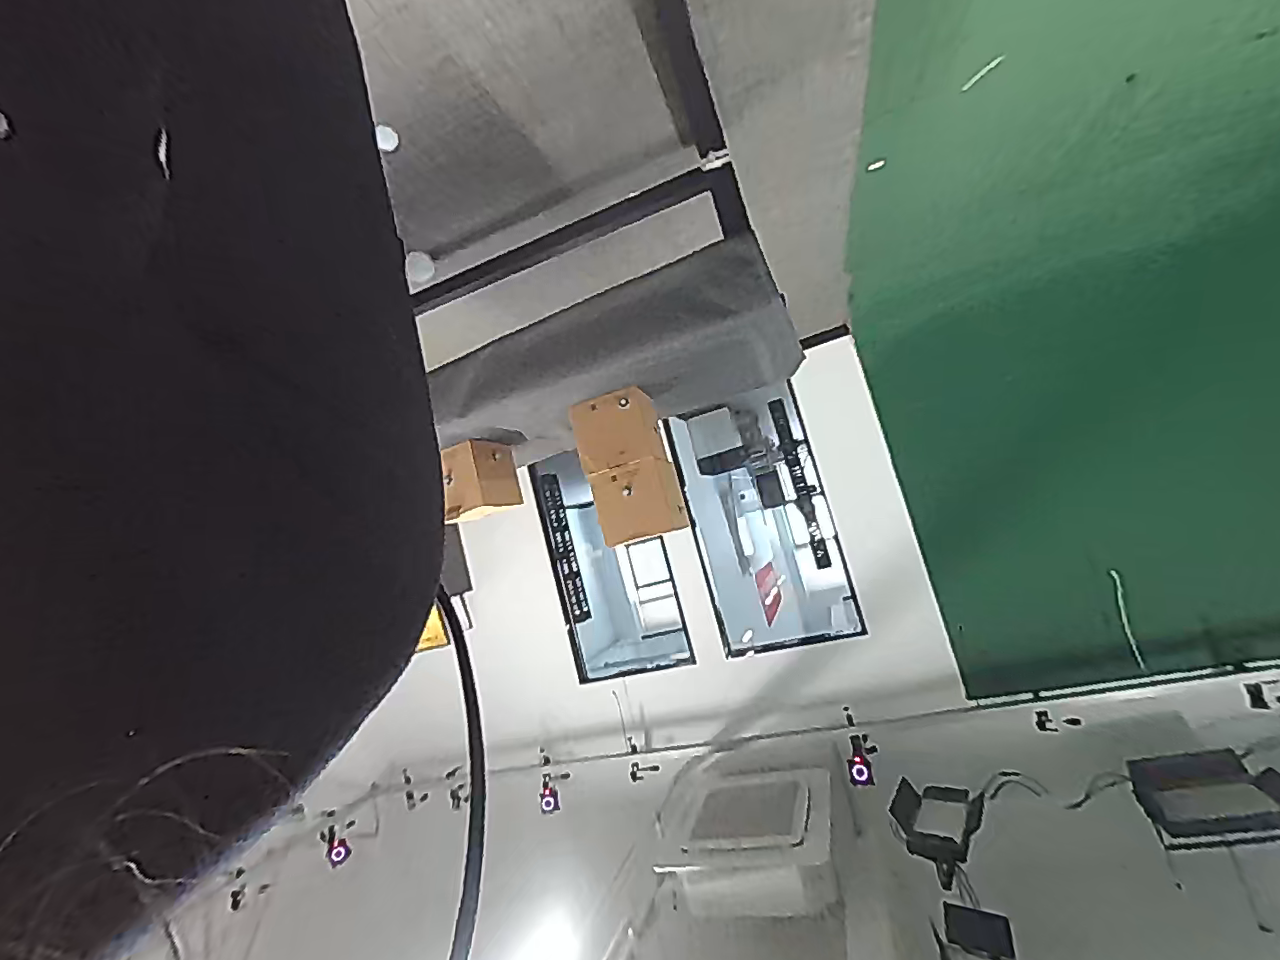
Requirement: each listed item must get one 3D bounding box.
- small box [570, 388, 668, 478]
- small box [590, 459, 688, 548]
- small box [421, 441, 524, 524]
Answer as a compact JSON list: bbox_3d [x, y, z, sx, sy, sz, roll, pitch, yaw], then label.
[{"bbox_3d":[-0.048,-0.106,1.274,0.168,0.176,0.179,-16,175,13],"label":"small box"},{"bbox_3d":[0.001,0.052,1.272,0.168,0.176,0.179,-17,174,15],"label":"small box"},{"bbox_3d":[-0.426,0.005,1.371,0.168,0.176,0.179,-17,173,19],"label":"small box"}]
